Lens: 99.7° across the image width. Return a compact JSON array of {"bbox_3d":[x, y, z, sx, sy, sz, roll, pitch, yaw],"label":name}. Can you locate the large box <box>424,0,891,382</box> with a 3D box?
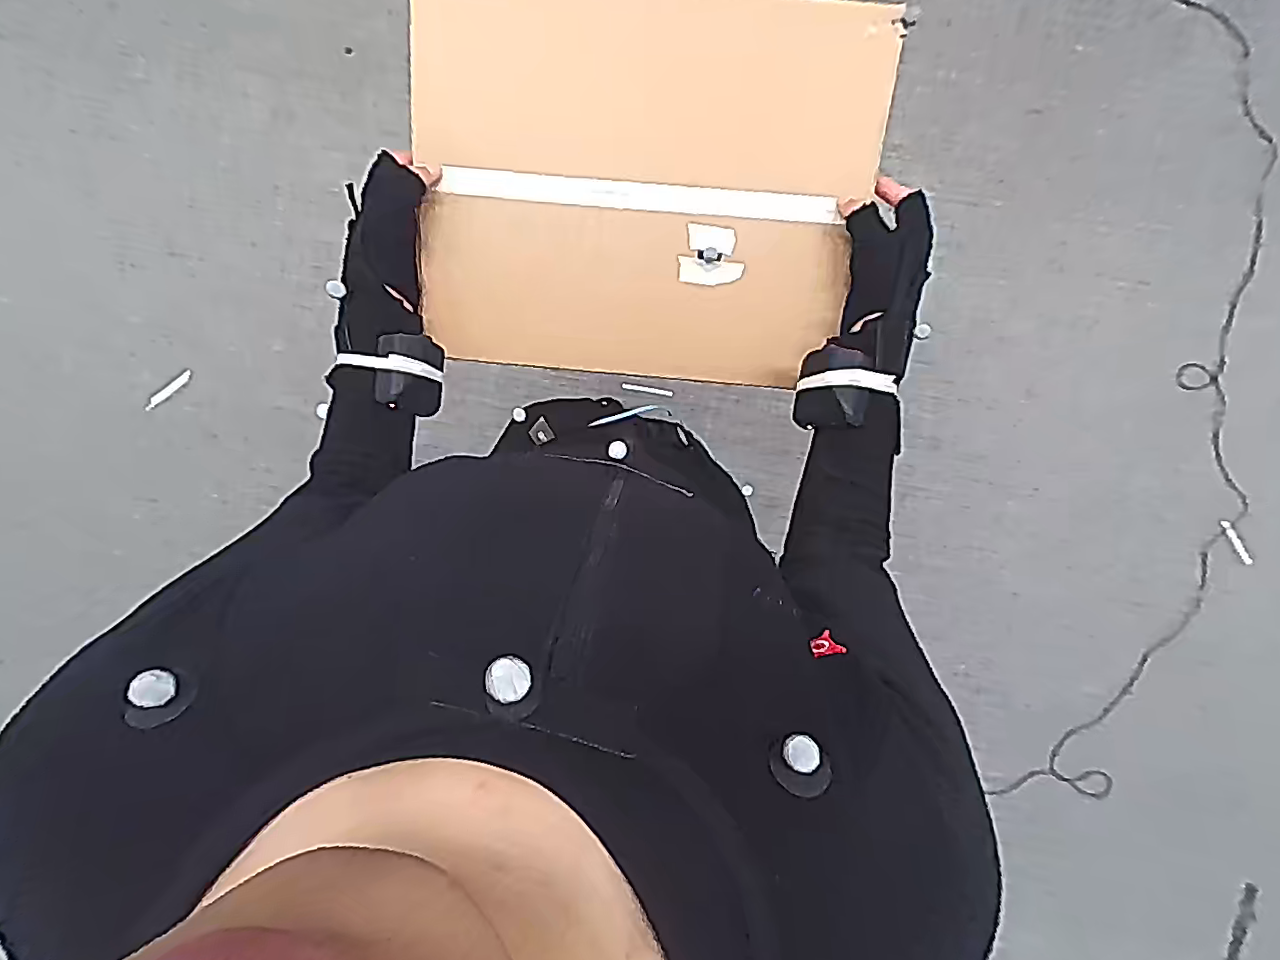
[{"bbox_3d":[0.005,-0.296,0.636,0.408,0.320,0.320,5,107,0],"label":"large box"}]
